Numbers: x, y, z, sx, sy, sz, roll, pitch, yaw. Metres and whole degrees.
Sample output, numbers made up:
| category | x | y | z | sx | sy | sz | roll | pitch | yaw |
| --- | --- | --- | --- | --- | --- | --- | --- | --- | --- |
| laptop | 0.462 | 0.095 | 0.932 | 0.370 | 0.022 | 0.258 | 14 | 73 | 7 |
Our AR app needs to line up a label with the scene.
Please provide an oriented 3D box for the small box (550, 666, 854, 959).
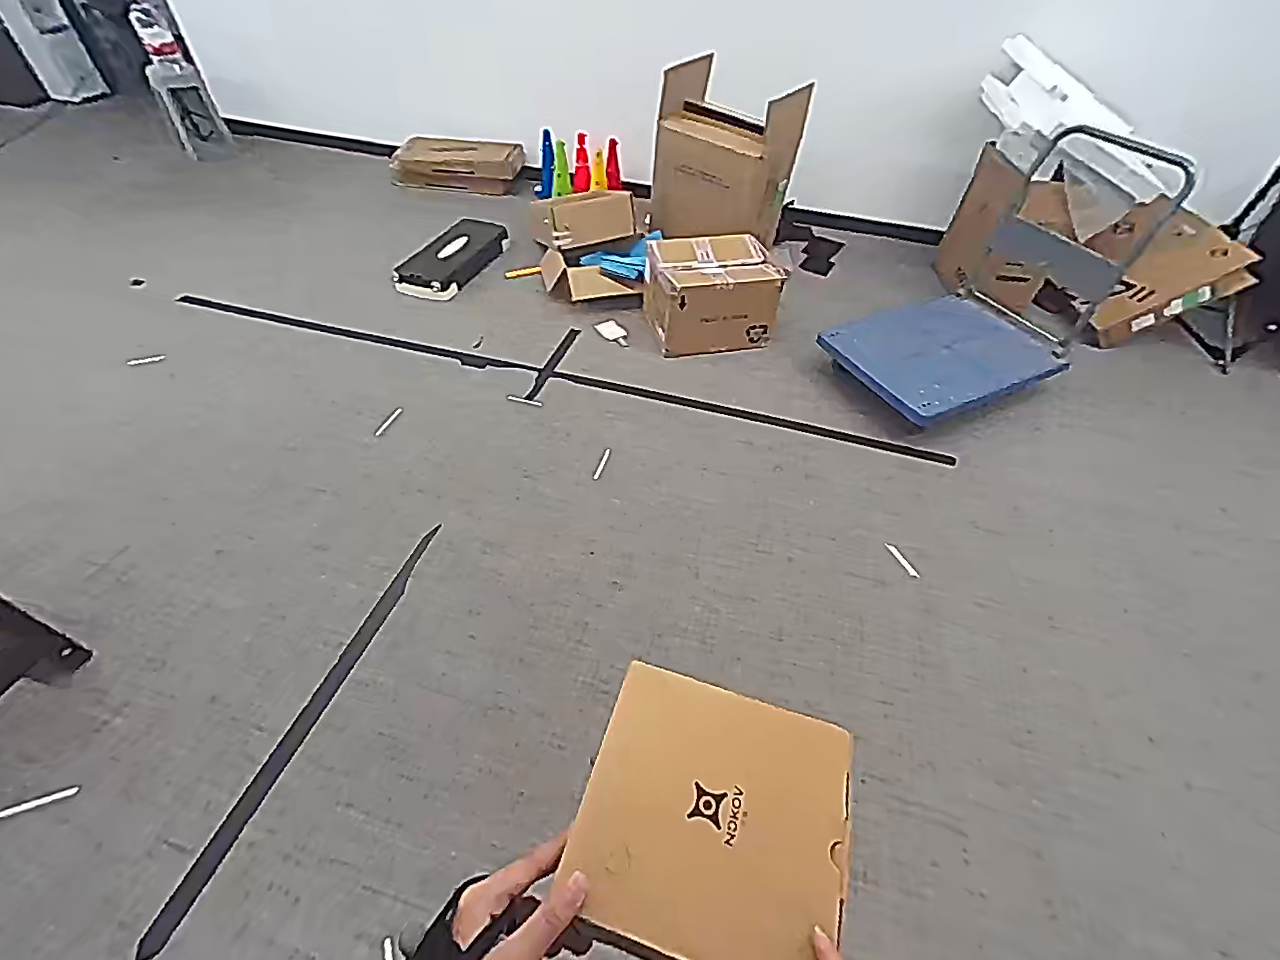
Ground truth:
| category | x | y | z | sx | sy | sz | roll | pitch | yaw |
| --- | --- | --- | --- | --- | --- | --- | --- | --- | --- |
| small box | 0.050 | 0.279 | 0.422 | 0.179 | 0.176 | 0.168 | 14 | 48 | 12 |
